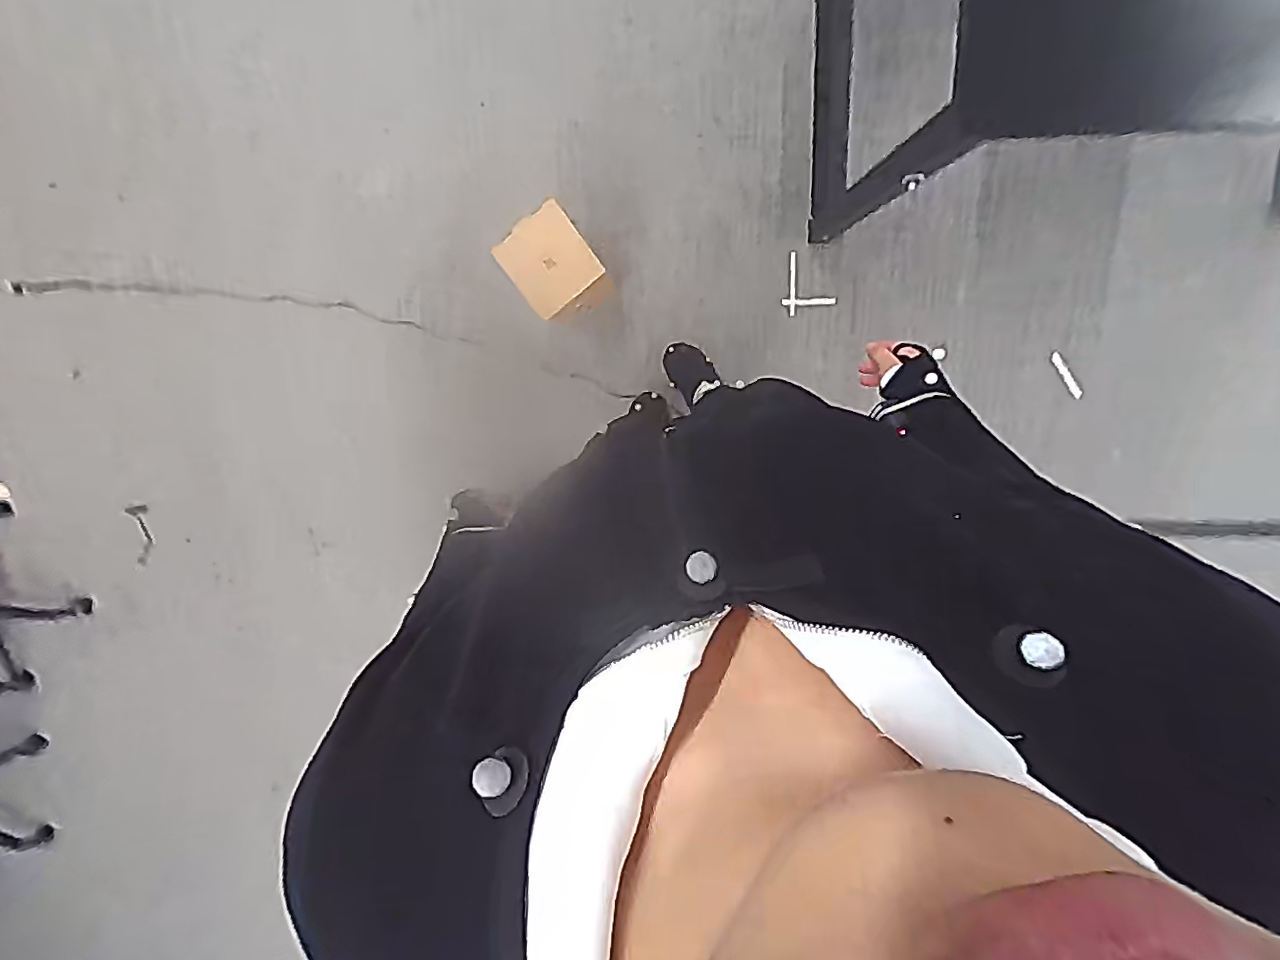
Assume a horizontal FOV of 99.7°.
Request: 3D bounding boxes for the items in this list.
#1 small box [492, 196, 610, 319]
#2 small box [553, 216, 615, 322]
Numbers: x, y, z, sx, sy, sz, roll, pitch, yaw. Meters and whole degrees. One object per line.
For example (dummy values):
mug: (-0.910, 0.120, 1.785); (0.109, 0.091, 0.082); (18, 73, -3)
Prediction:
small box: (-0.182, -0.462, 1.161); (0.168, 0.176, 0.179); (-37, 101, 11)
small box: (-0.174, -0.503, 1.318); (0.168, 0.176, 0.179); (-33, 100, 9)
